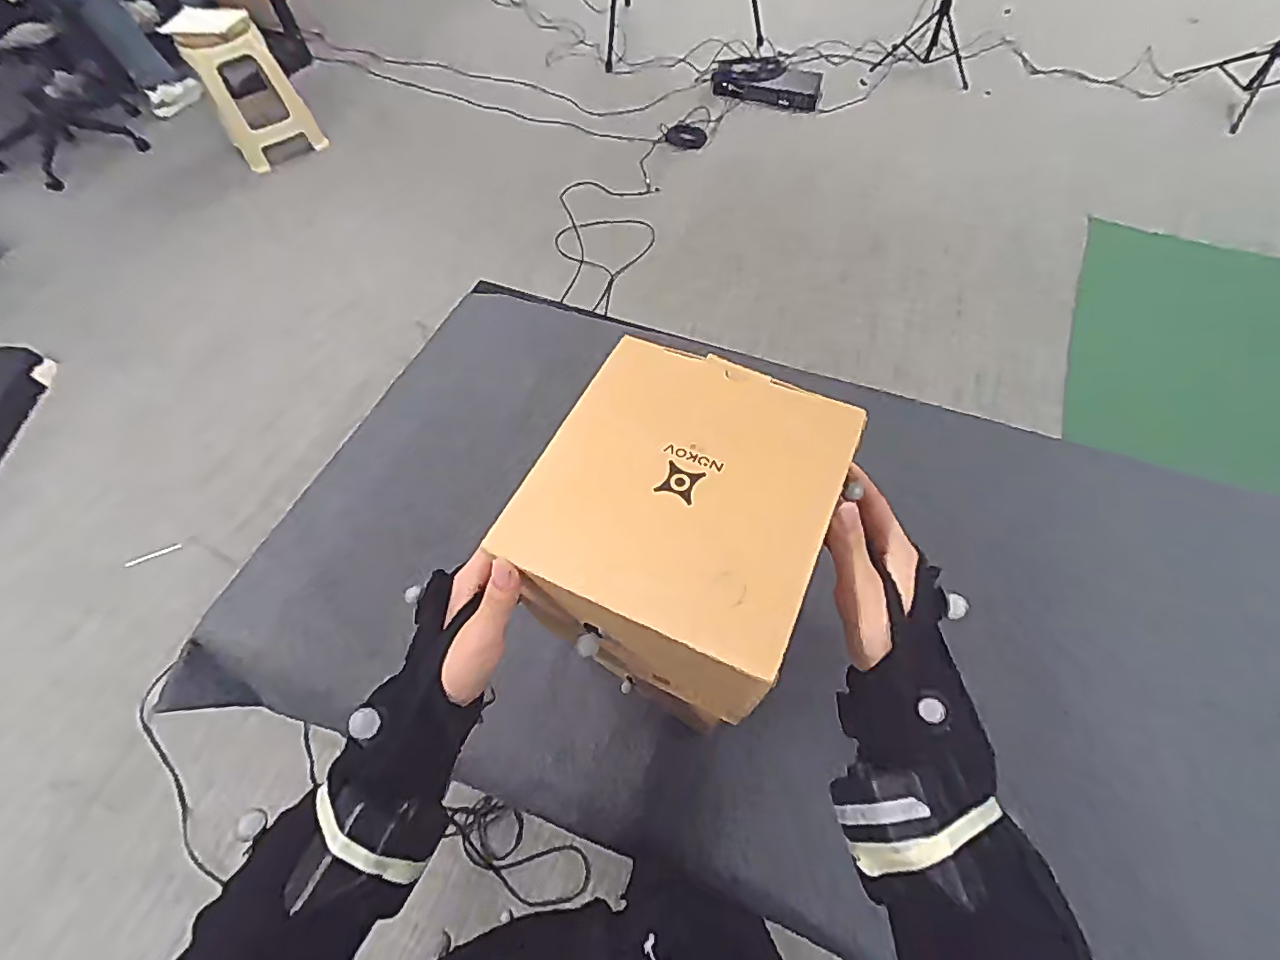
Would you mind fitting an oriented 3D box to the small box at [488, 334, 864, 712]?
[{"bbox_3d":[0.031,0.037,0.376,0.168,0.176,0.179,21,62,15],"label":"small box"}]
